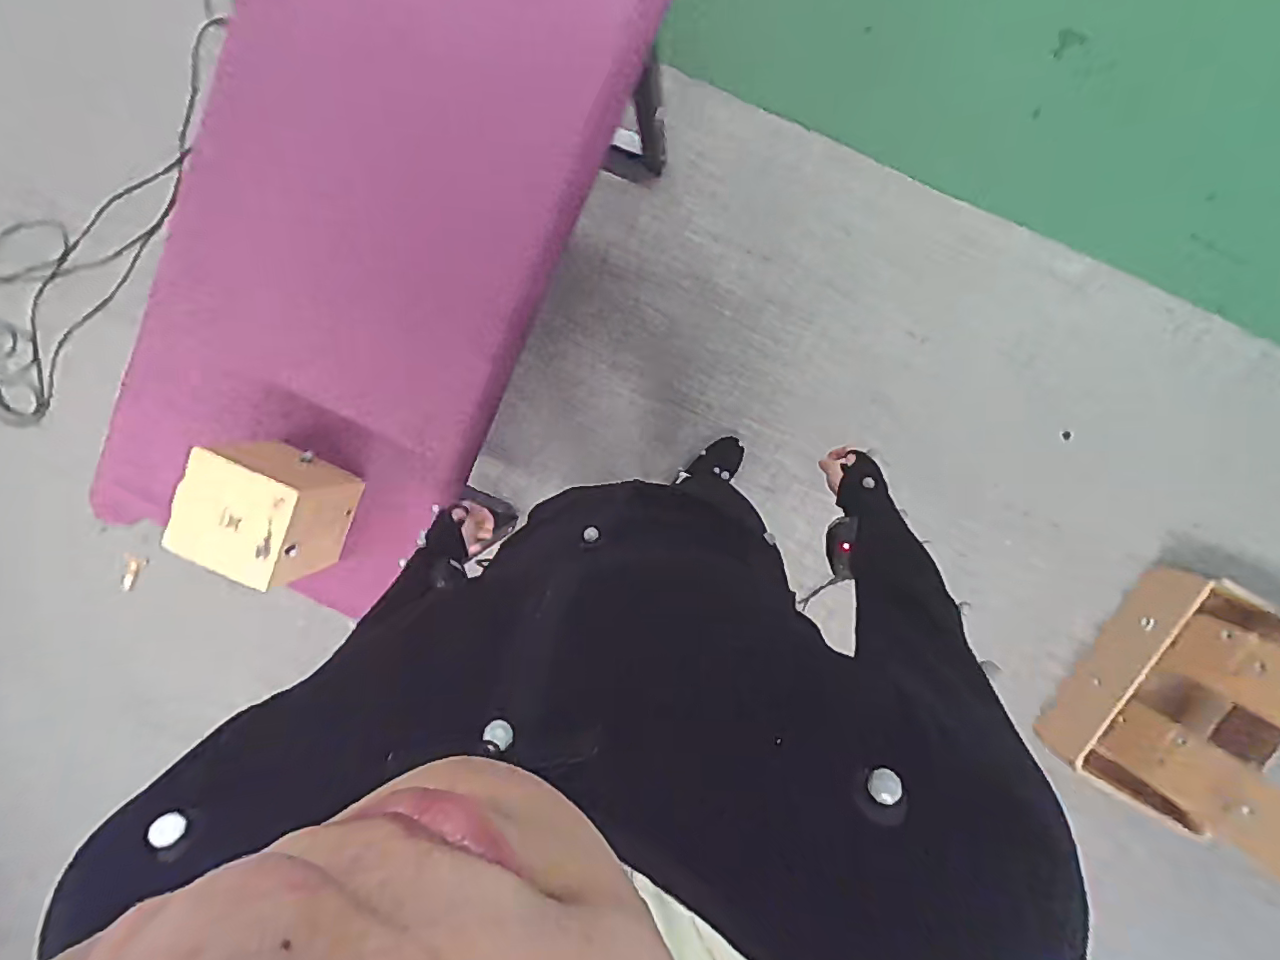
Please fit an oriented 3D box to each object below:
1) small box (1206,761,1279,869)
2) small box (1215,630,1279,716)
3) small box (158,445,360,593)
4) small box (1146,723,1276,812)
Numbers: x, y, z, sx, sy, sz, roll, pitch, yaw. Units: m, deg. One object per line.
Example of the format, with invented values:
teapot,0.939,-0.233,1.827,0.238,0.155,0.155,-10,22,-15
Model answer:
small box,1.385,0.736,1.136,0.179,0.176,0.168,29,96,0
small box,1.539,0.480,1.261,0.179,0.176,0.168,29,99,-1
small box,-0.591,0.051,0.858,0.179,0.176,0.168,23,98,2
small box,1.397,0.721,1.300,0.179,0.176,0.168,31,97,-1
